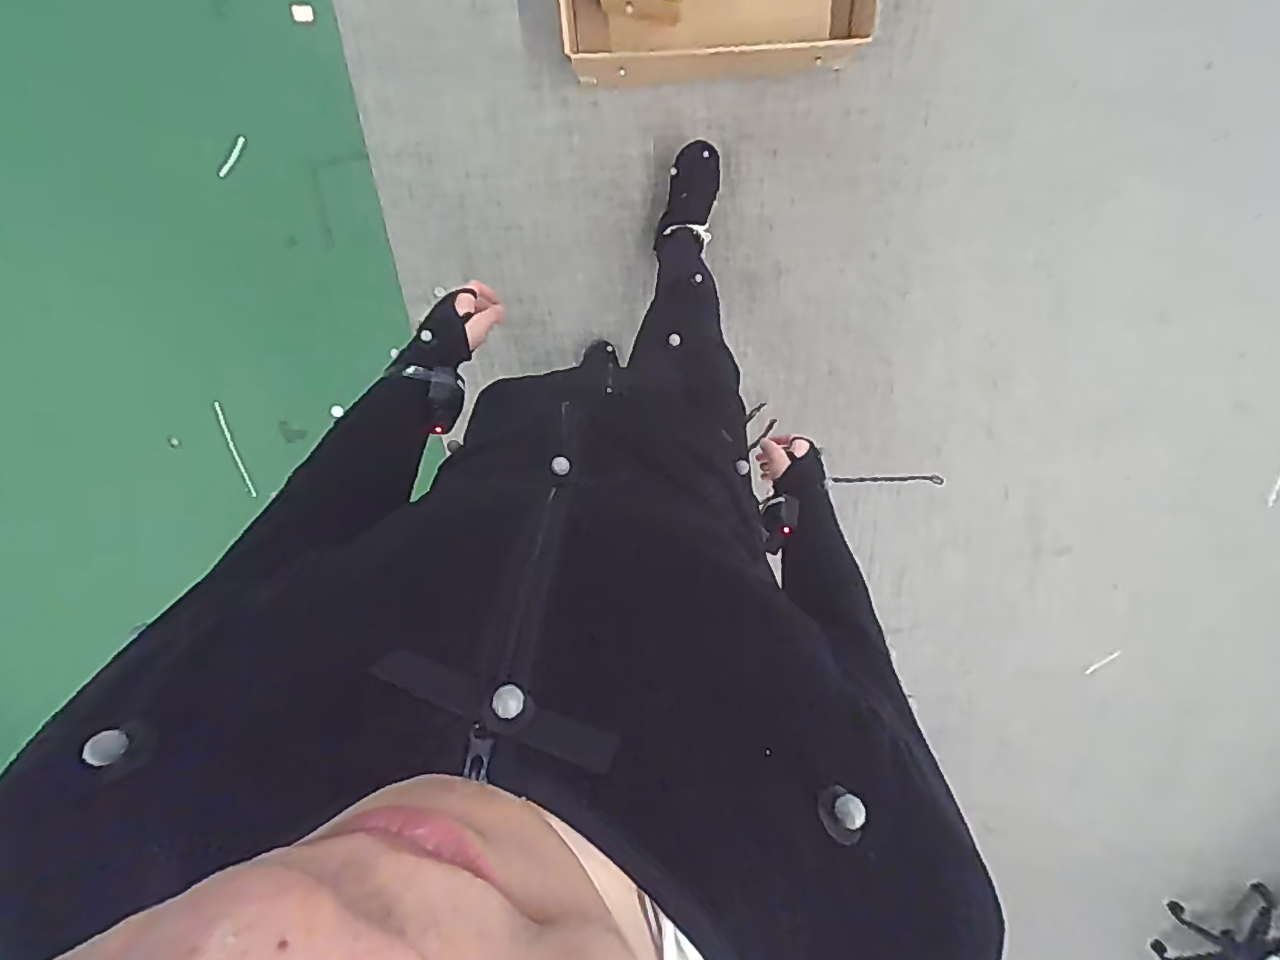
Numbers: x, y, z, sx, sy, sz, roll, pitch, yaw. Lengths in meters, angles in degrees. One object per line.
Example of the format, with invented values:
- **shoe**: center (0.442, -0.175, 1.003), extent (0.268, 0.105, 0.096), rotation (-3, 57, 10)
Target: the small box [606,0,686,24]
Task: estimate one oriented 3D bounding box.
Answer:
- **small box**: center (0.019, -1.018, 1.038), extent (0.168, 0.176, 0.179), rotation (8, 114, -3)
